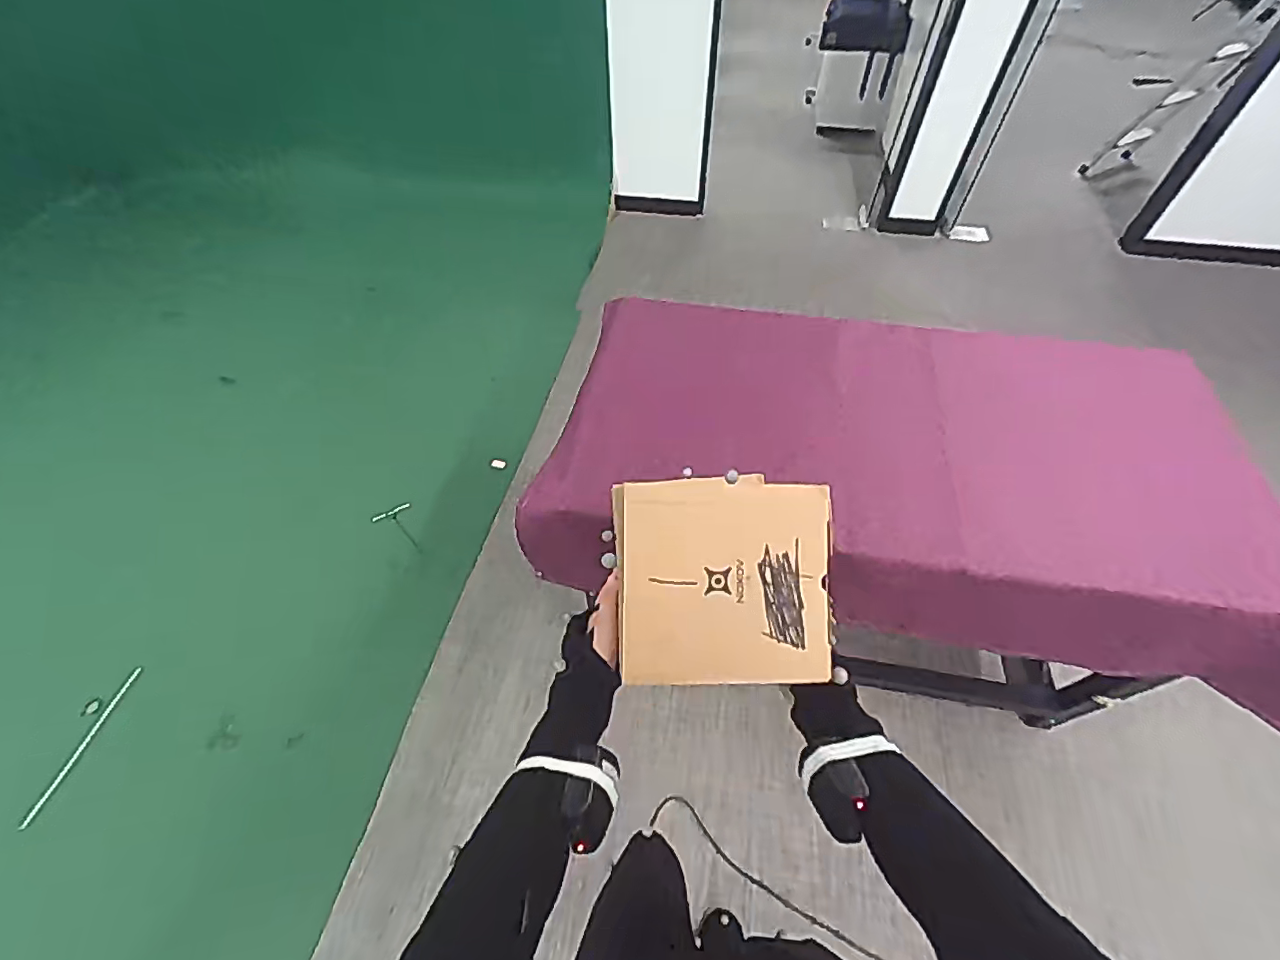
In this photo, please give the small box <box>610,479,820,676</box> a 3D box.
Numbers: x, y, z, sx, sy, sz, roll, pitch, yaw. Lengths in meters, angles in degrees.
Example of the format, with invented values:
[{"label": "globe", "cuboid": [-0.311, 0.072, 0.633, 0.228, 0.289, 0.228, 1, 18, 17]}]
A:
[{"label": "small box", "cuboid": [0.060, 0.084, 0.532, 0.179, 0.176, 0.168, 0, 87, -3]}]
